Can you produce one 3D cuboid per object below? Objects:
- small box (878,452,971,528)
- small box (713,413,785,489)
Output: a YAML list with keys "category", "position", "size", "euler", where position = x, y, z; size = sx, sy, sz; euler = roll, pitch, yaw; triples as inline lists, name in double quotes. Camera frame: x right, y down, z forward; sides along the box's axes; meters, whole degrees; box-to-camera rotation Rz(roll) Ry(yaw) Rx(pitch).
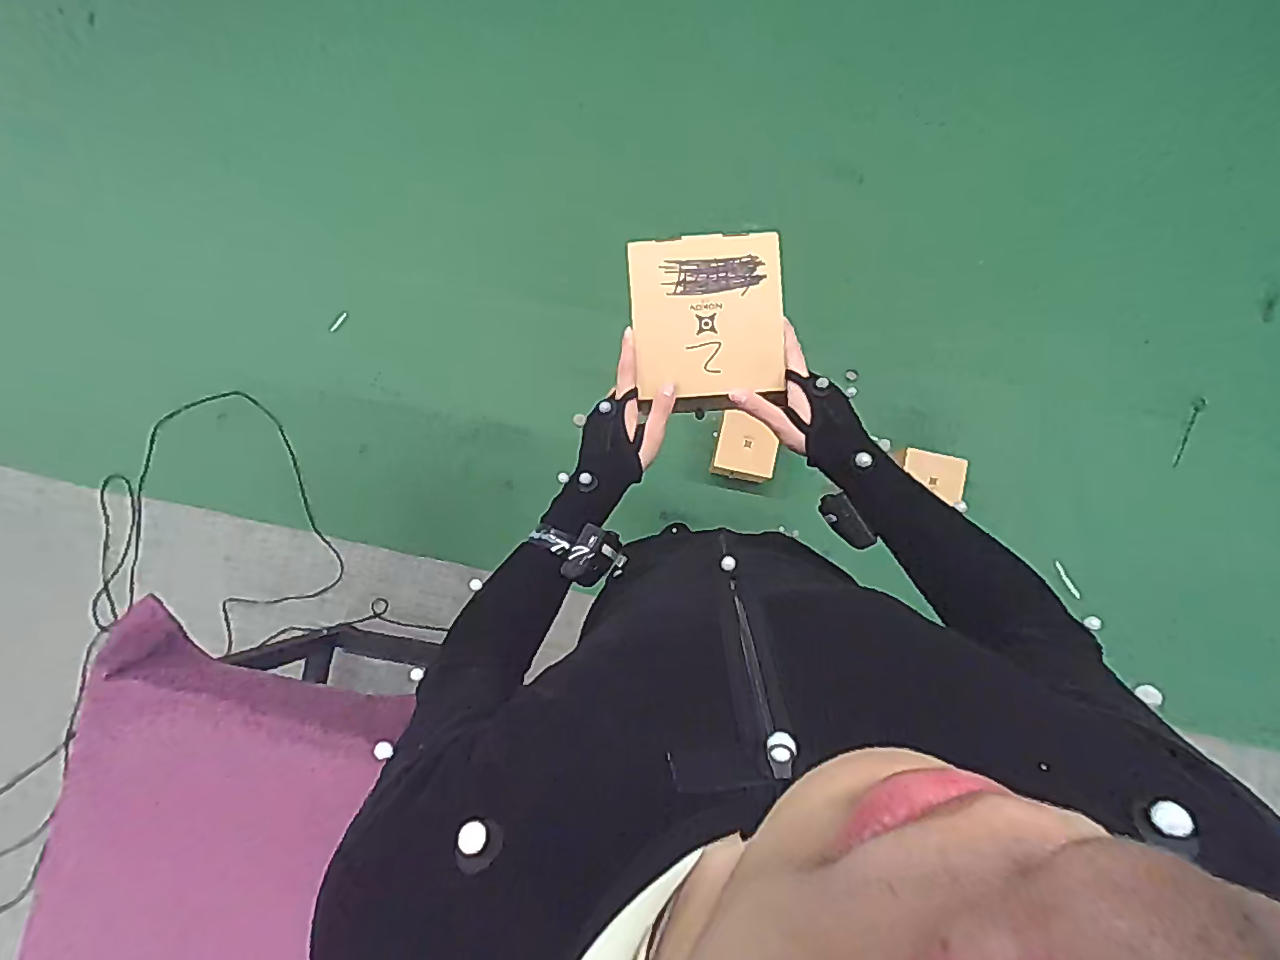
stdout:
- category: "small box"
  position: [0.800, 0.034, 1.538]
  size: [0.168, 0.176, 0.179]
  euler: [13, 85, 4]
- category: "small box"
  position: [0.311, -0.077, 1.577]
  size: [0.168, 0.176, 0.179]
  euler: [12, 84, 4]
